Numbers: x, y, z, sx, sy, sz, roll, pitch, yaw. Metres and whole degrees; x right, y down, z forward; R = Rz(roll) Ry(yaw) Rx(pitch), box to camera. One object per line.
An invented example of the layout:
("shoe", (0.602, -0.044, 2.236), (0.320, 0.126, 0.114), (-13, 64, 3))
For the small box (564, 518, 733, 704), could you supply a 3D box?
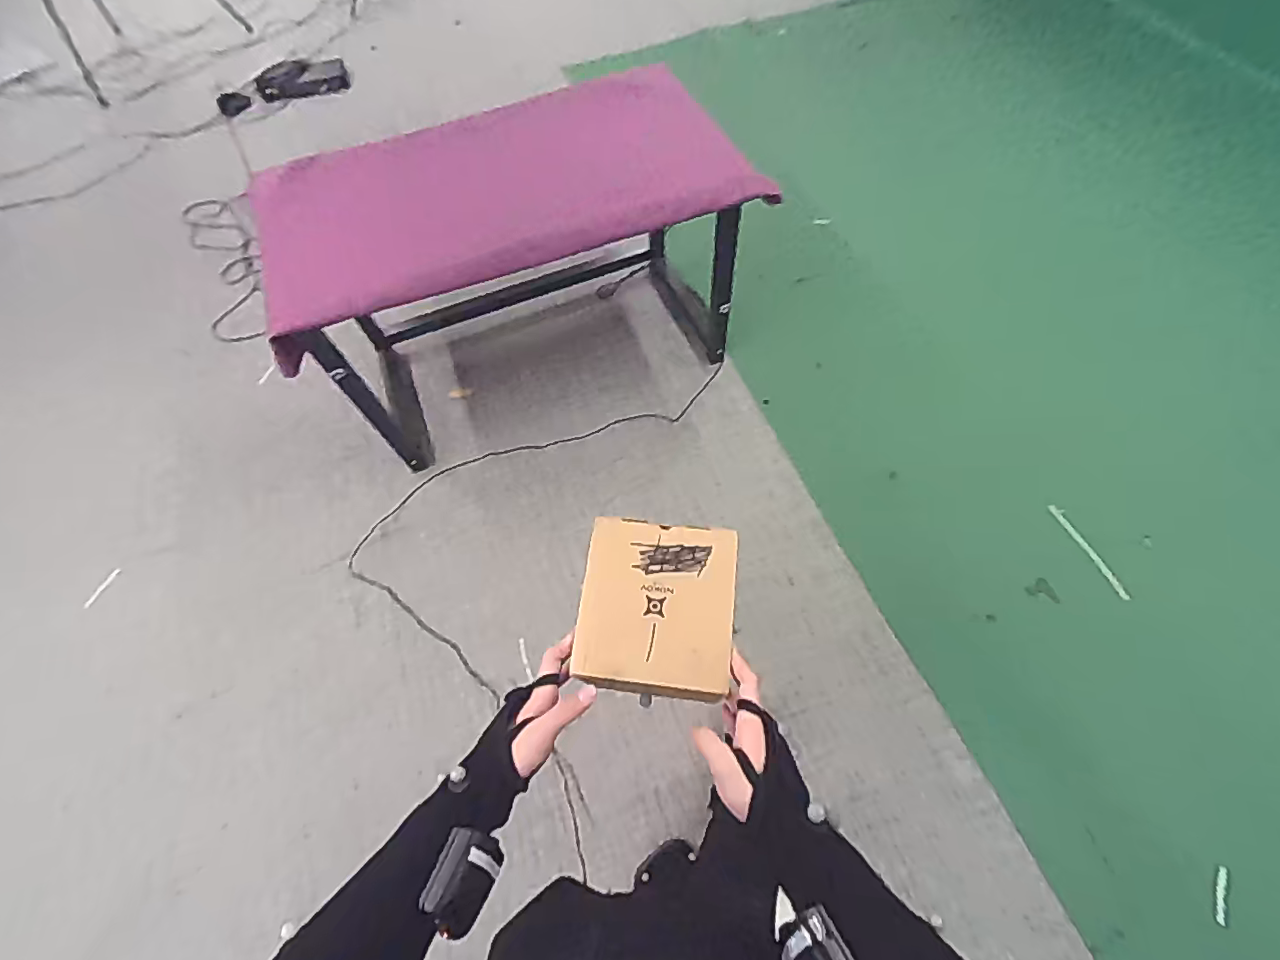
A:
("small box", (0.017, 0.163, 0.652), (0.168, 0.176, 0.179), (5, 65, 6))
